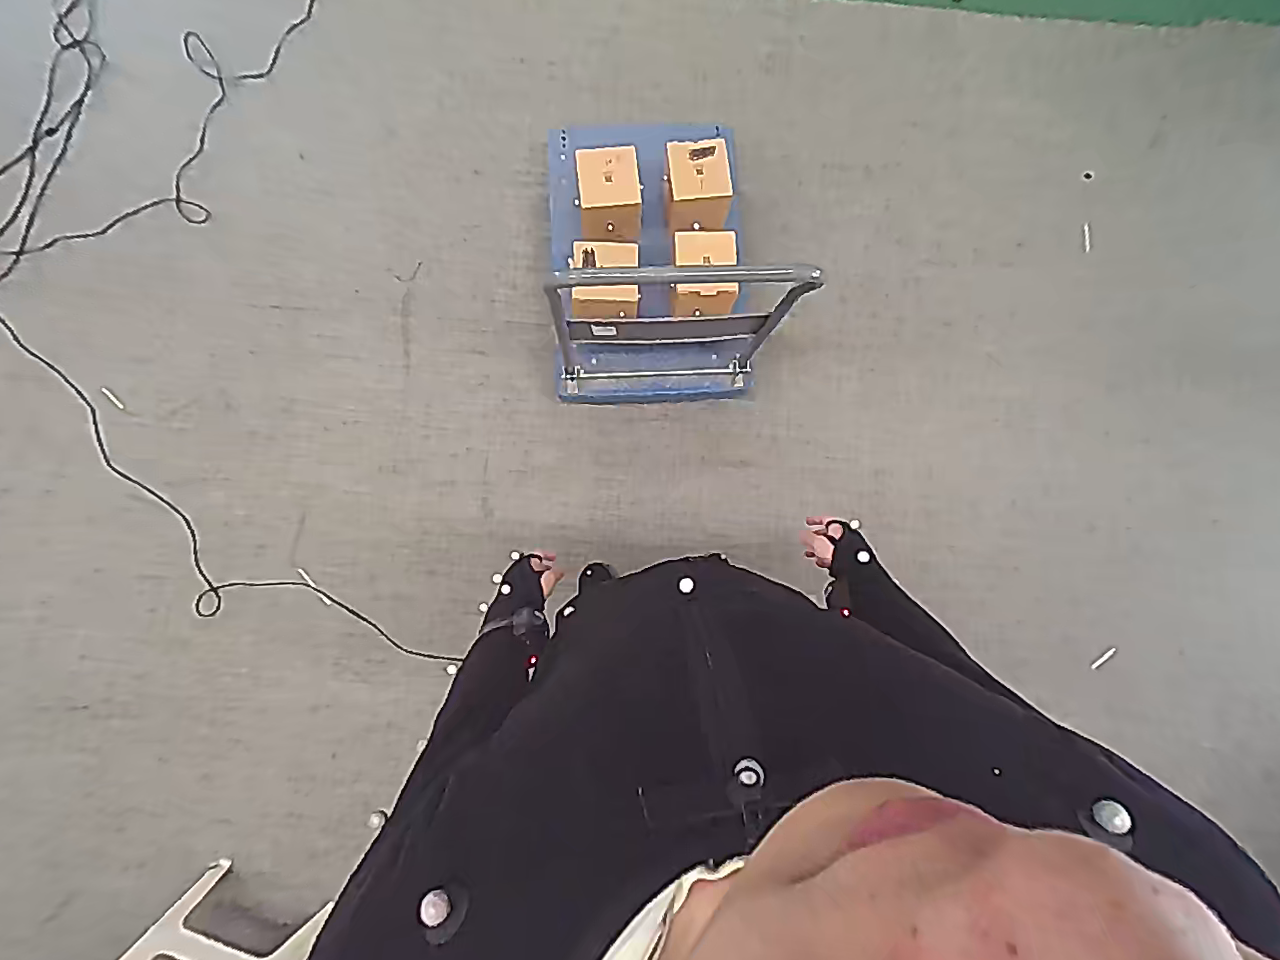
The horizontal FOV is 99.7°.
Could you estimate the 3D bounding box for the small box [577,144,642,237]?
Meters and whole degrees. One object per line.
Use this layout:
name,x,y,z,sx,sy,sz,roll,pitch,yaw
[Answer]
small box,-0.085,-0.813,1.538,0.168,0.176,0.179,-6,82,-3

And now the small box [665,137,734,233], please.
small box,0.165,-0.841,1.549,0.168,0.176,0.179,-6,84,-2

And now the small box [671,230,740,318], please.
small box,0.178,-0.573,1.515,0.168,0.176,0.179,-1,83,-2
